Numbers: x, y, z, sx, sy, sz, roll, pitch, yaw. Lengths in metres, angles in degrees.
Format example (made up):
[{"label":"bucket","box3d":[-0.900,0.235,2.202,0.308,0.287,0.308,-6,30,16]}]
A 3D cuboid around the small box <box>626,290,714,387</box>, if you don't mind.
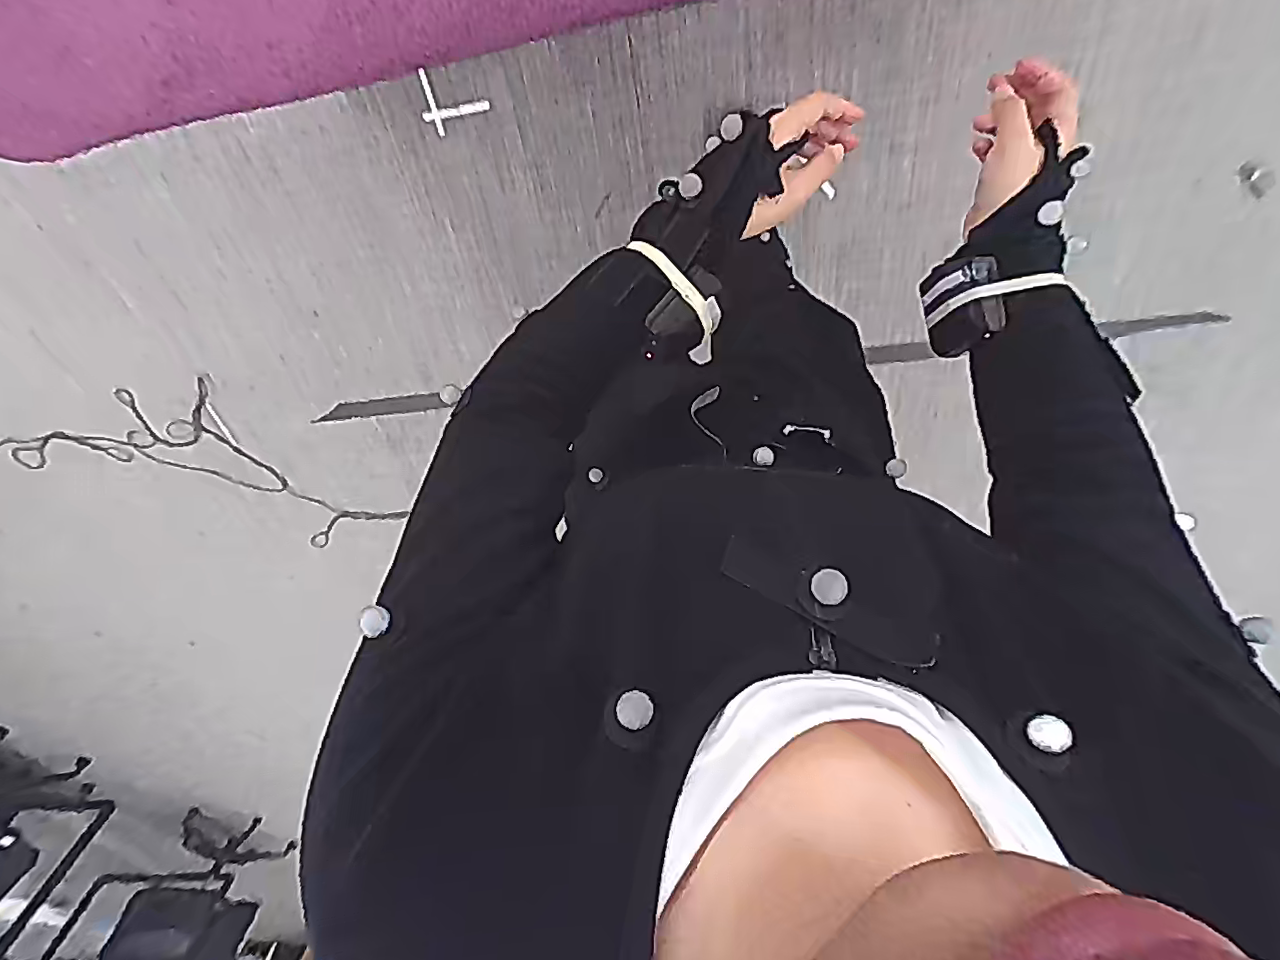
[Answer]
[{"label":"small box","box3d":[0.060,-0.311,1.182,0.179,0.176,0.168,-1,121,0]}]
